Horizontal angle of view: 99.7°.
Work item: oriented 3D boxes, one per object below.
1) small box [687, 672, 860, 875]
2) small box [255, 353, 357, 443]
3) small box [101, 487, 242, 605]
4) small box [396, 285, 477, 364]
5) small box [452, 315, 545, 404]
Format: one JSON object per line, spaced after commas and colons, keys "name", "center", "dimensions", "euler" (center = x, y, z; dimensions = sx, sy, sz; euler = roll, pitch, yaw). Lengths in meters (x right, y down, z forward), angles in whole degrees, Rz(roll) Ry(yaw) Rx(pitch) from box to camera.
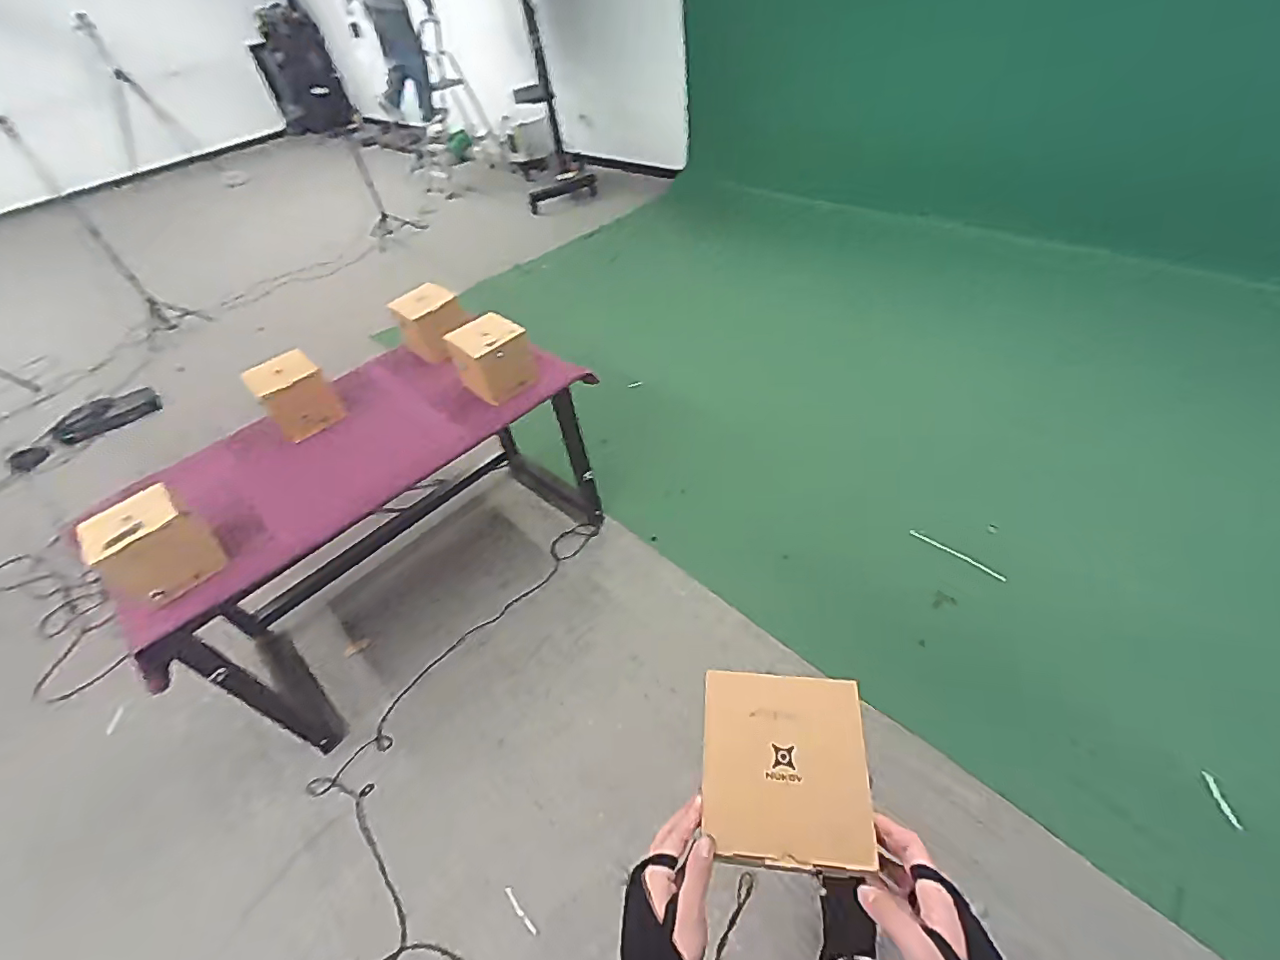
{"name": "small box", "center": [0.146, 0.340, 0.627], "dimensions": [0.168, 0.176, 0.179], "euler": [1, 54, 9]}
{"name": "small box", "center": [-0.970, -0.236, 1.579], "dimensions": [0.168, 0.176, 0.179], "euler": [-38, 53, -24]}
{"name": "small box", "center": [-1.046, 0.154, 1.219], "dimensions": [0.168, 0.176, 0.179], "euler": [-40, 50, -25]}
{"name": "small box", "center": [-0.653, -0.507, 1.766], "dimensions": [0.179, 0.176, 0.168], "euler": [32, 62, 33]}
{"name": "small box", "center": [-0.406, -0.348, 1.567], "dimensions": [0.168, 0.176, 0.179], "euler": [-40, 52, -23]}
